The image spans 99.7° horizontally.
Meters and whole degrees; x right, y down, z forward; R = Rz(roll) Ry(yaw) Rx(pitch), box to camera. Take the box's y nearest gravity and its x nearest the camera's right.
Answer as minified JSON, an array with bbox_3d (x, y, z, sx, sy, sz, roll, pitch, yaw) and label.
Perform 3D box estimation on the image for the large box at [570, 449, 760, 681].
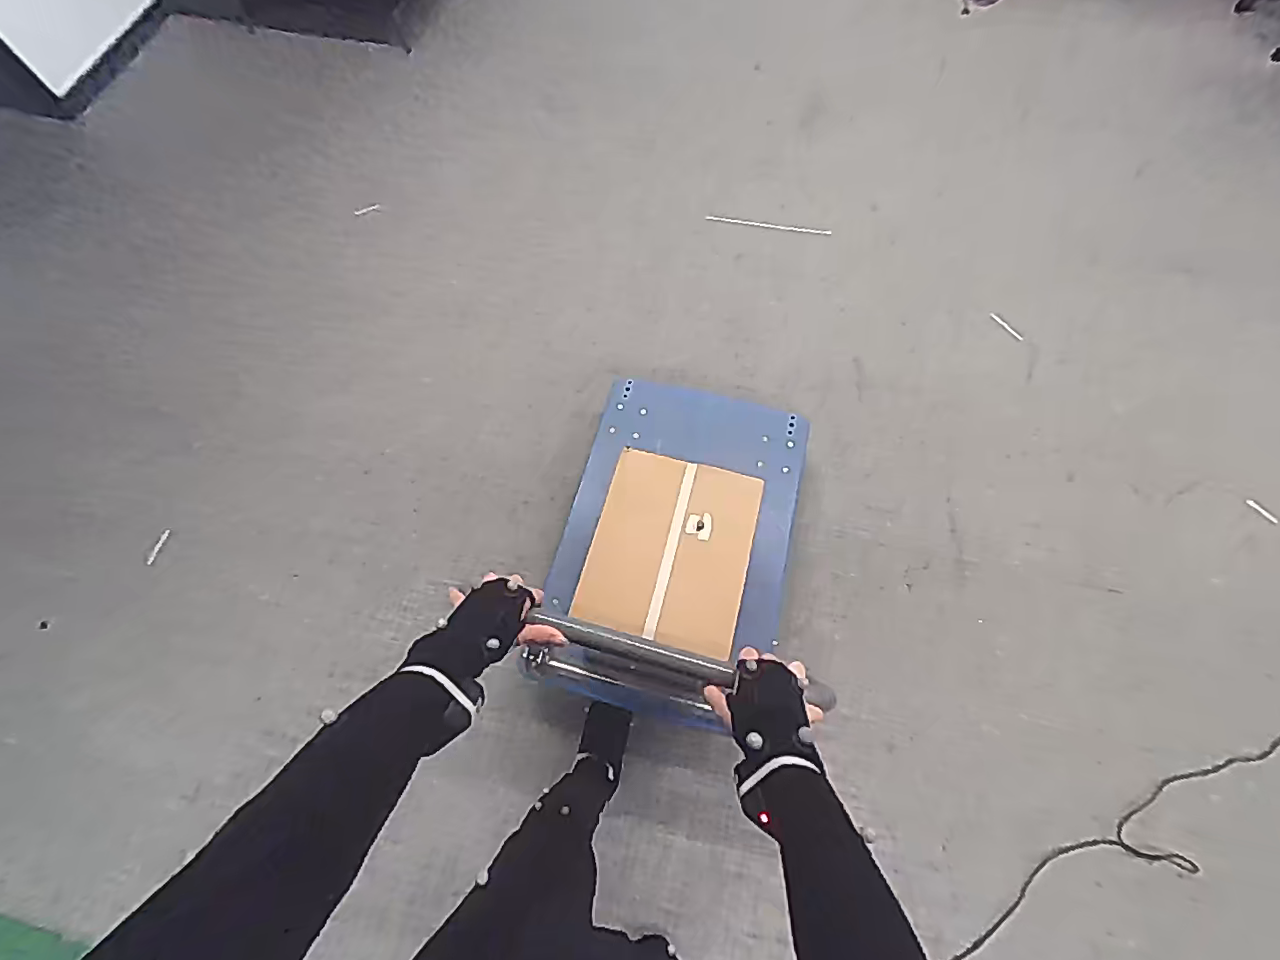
[{"bbox_3d":[0.064,0.200,1.214,0.320,0.320,0.408,14,66,7],"label":"large box"}]
